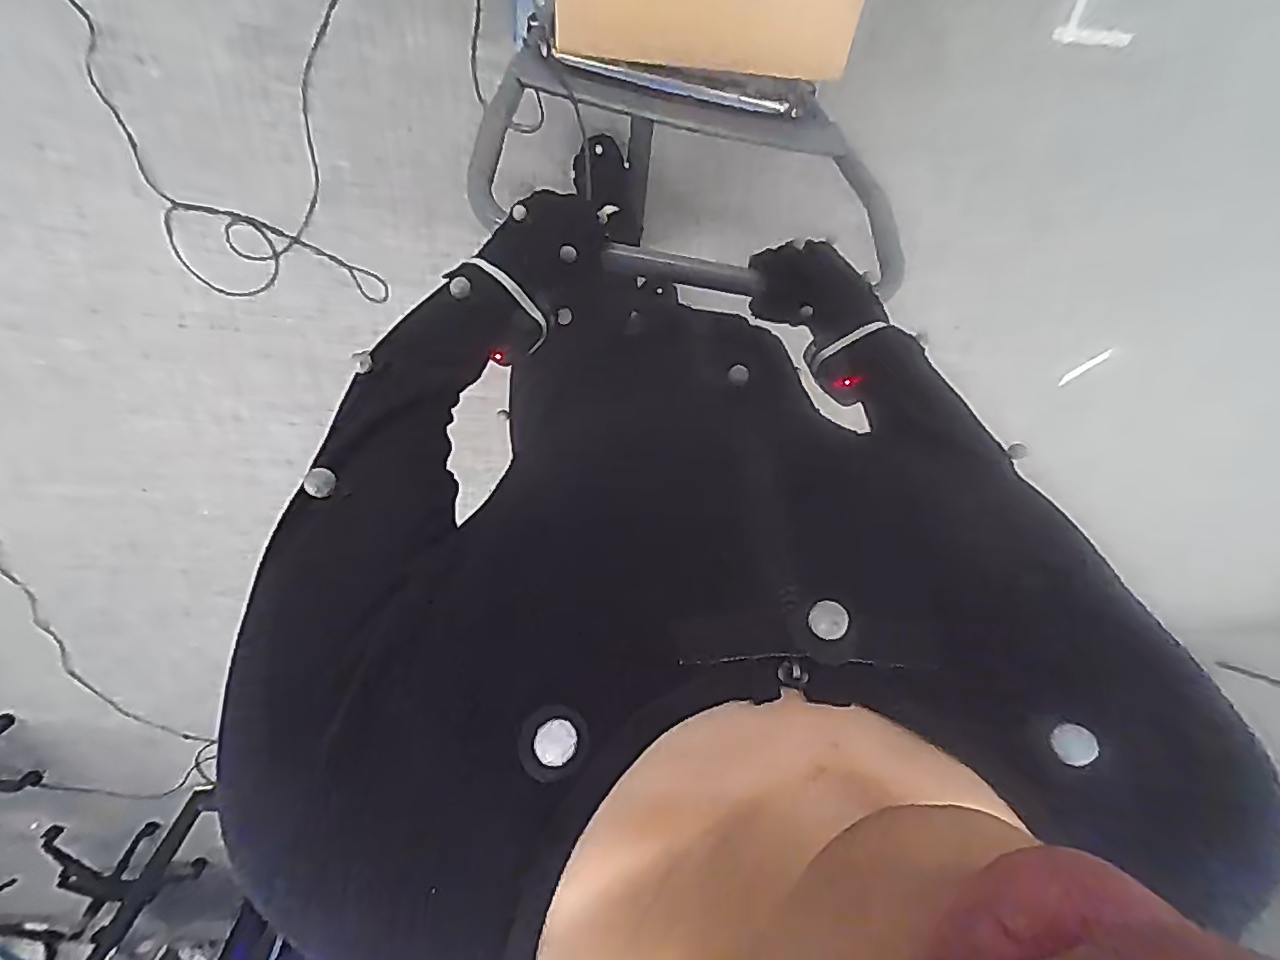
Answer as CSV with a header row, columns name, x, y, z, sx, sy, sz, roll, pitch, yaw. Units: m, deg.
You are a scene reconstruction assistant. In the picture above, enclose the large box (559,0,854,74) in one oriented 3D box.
name,x,y,z,sx,sy,sz,roll,pitch,yaw
large box,0.090,-0.805,0.765,0.408,0.320,0.320,2,136,-5
